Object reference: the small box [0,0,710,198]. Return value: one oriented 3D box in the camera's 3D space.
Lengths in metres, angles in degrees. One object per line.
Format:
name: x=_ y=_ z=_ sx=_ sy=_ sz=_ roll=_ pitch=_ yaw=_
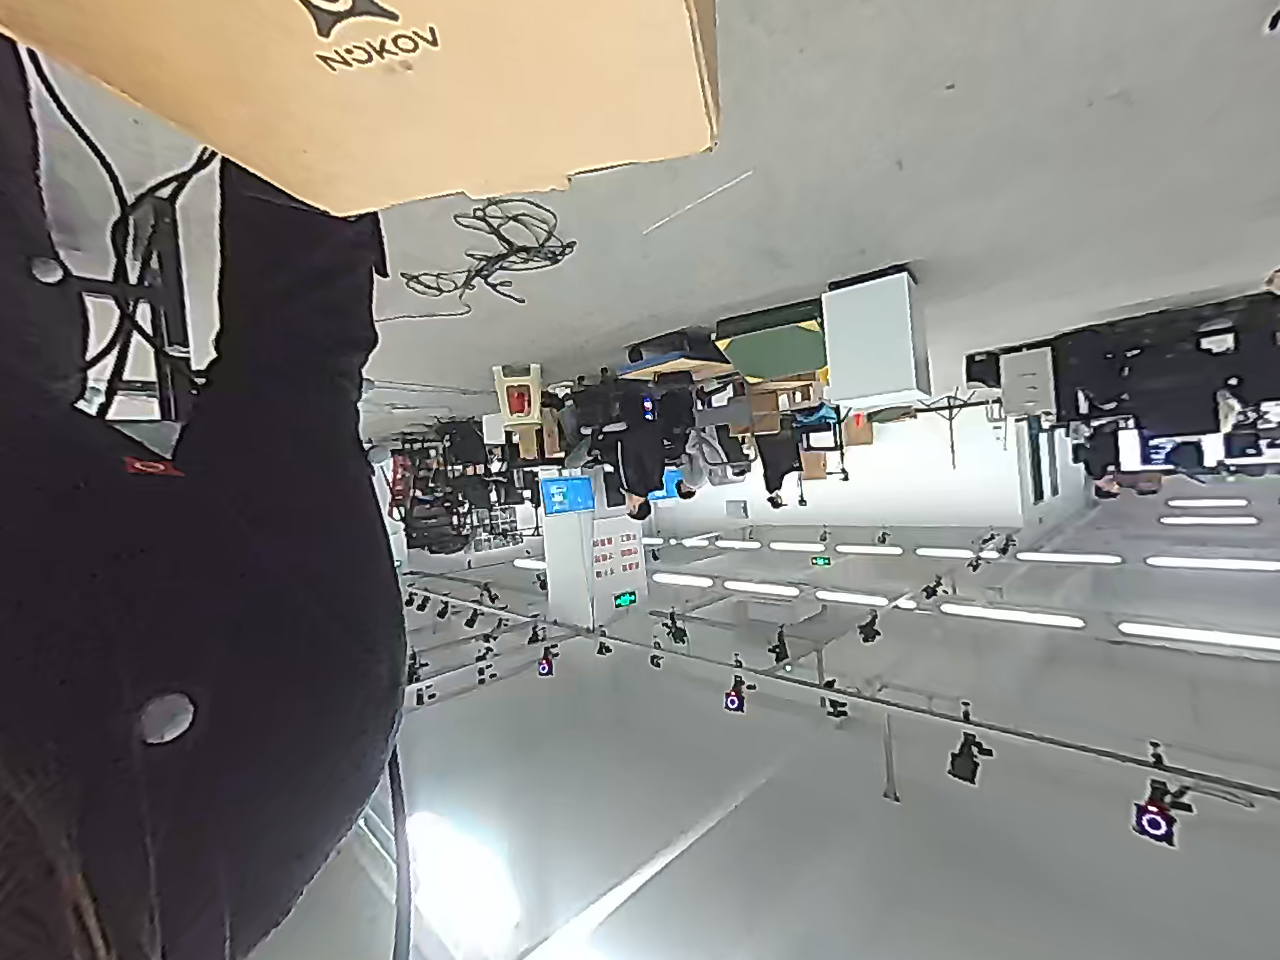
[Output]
small box: x=-0.076 y=-0.202 z=0.127 sx=0.168 sy=0.176 sz=0.179 roll=-2 pitch=-178 yaw=13
